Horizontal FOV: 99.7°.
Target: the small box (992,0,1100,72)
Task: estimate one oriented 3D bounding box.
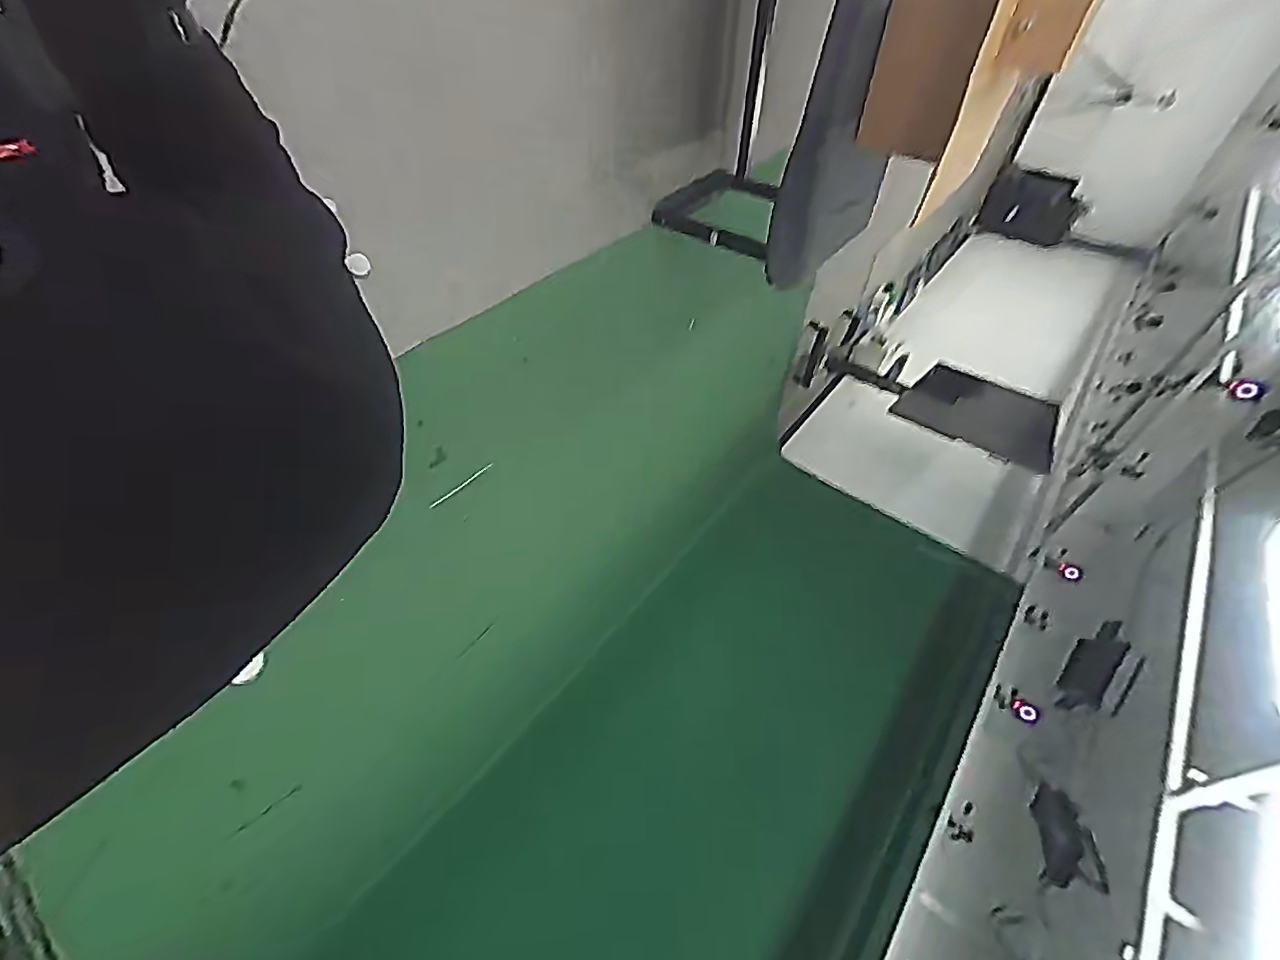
[{"bbox_3d":[1.080,-1.210,1.433,0.179,0.176,0.168,-41,149,-30],"label":"small box"}]
